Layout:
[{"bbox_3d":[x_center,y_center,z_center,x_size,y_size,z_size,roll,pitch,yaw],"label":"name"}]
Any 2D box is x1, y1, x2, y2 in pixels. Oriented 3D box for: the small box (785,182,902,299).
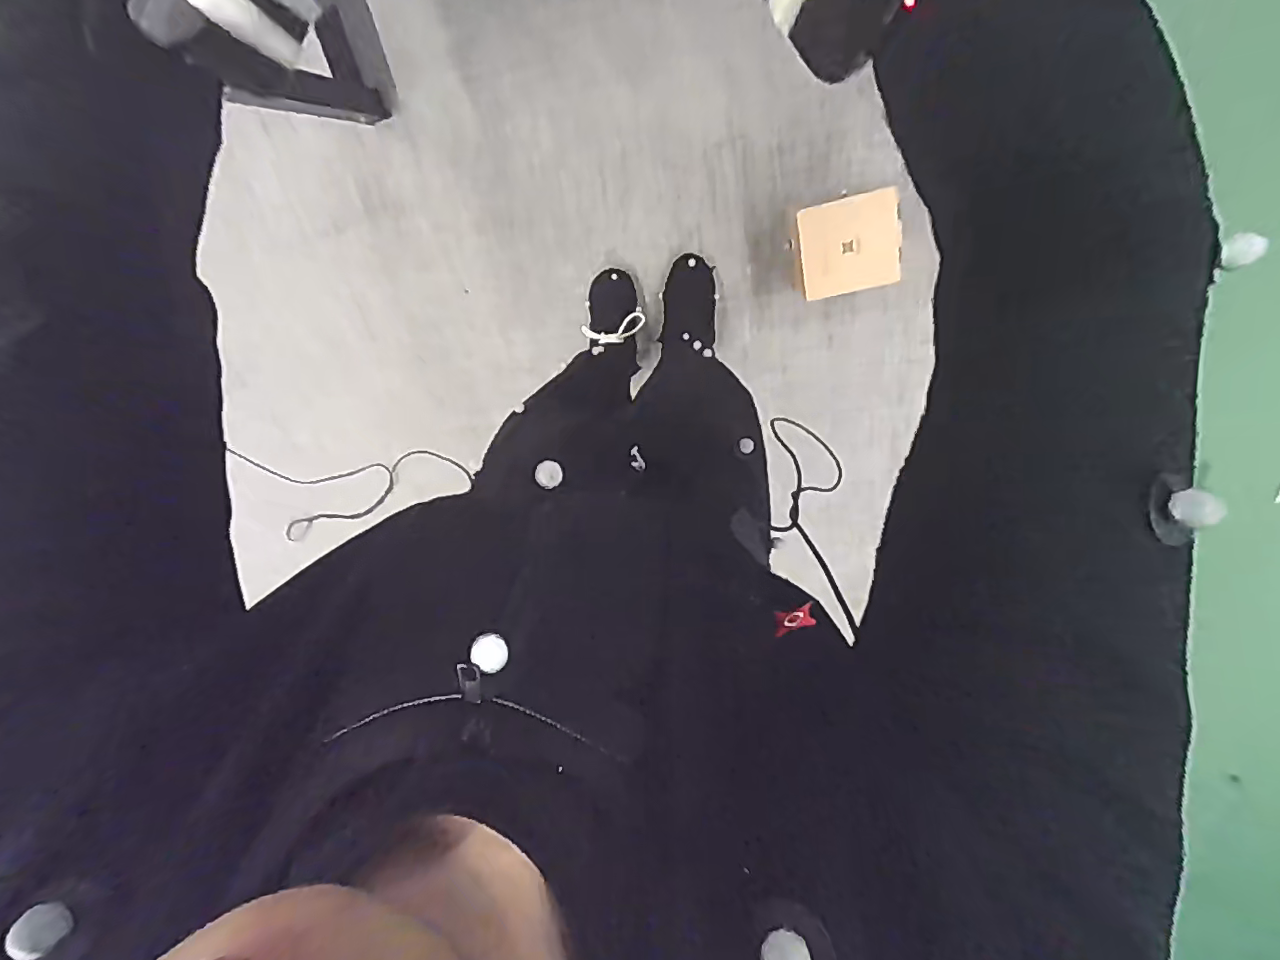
[{"bbox_3d":[0.390,-0.468,1.050,0.179,0.176,0.168,-10,116,13],"label":"small box"}]
